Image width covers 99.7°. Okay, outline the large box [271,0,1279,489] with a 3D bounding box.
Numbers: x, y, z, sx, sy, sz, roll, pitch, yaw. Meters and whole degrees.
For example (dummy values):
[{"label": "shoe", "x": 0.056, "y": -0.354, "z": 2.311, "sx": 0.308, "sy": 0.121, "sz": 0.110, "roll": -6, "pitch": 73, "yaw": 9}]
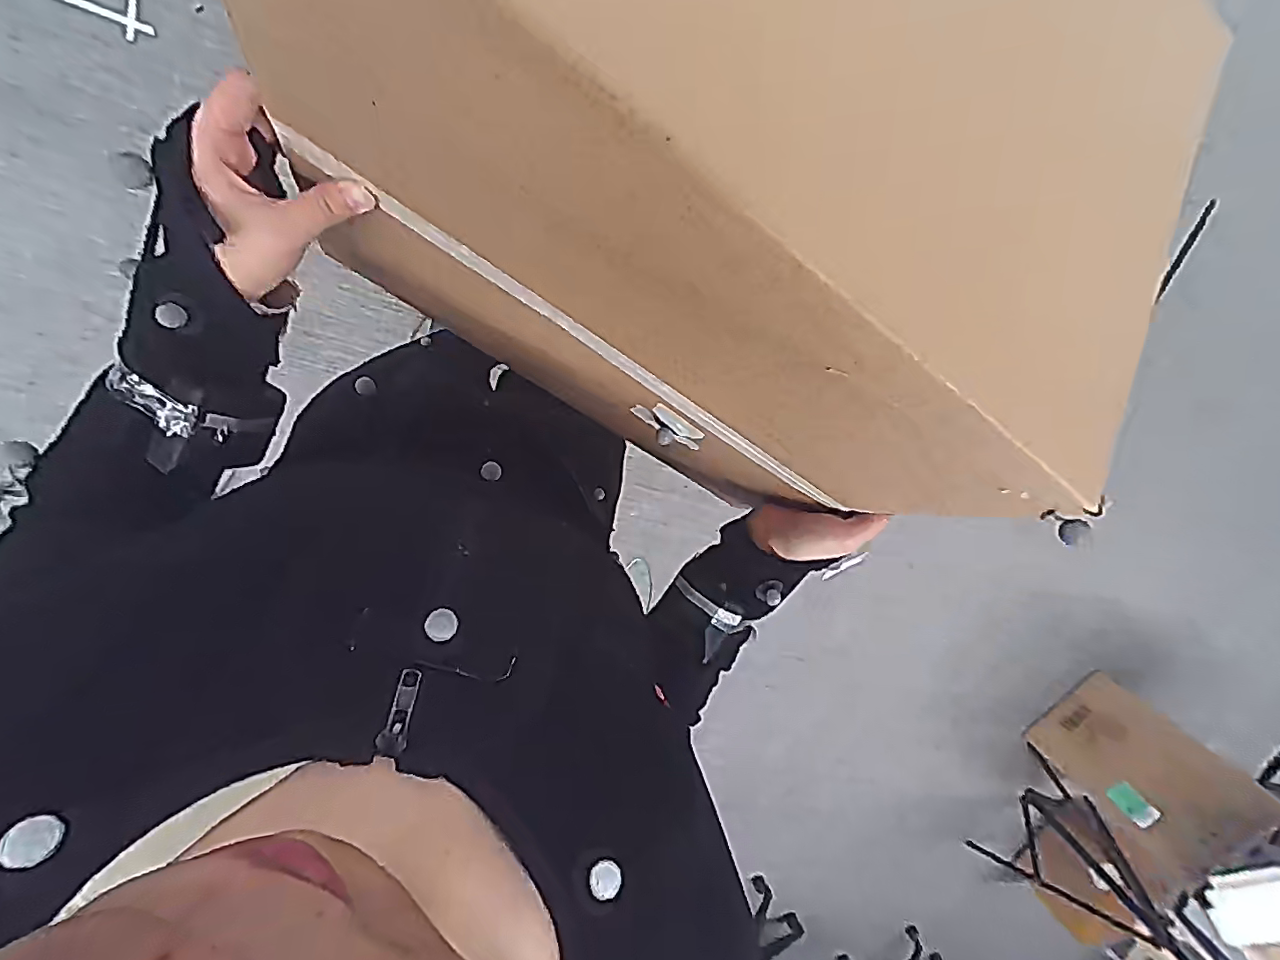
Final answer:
[{"label": "large box", "x": 0.071, "y": -0.225, "z": 0.326, "sx": 0.408, "sy": 0.320, "sz": 0.320, "roll": 30, "pitch": 79, "yaw": -19}]
